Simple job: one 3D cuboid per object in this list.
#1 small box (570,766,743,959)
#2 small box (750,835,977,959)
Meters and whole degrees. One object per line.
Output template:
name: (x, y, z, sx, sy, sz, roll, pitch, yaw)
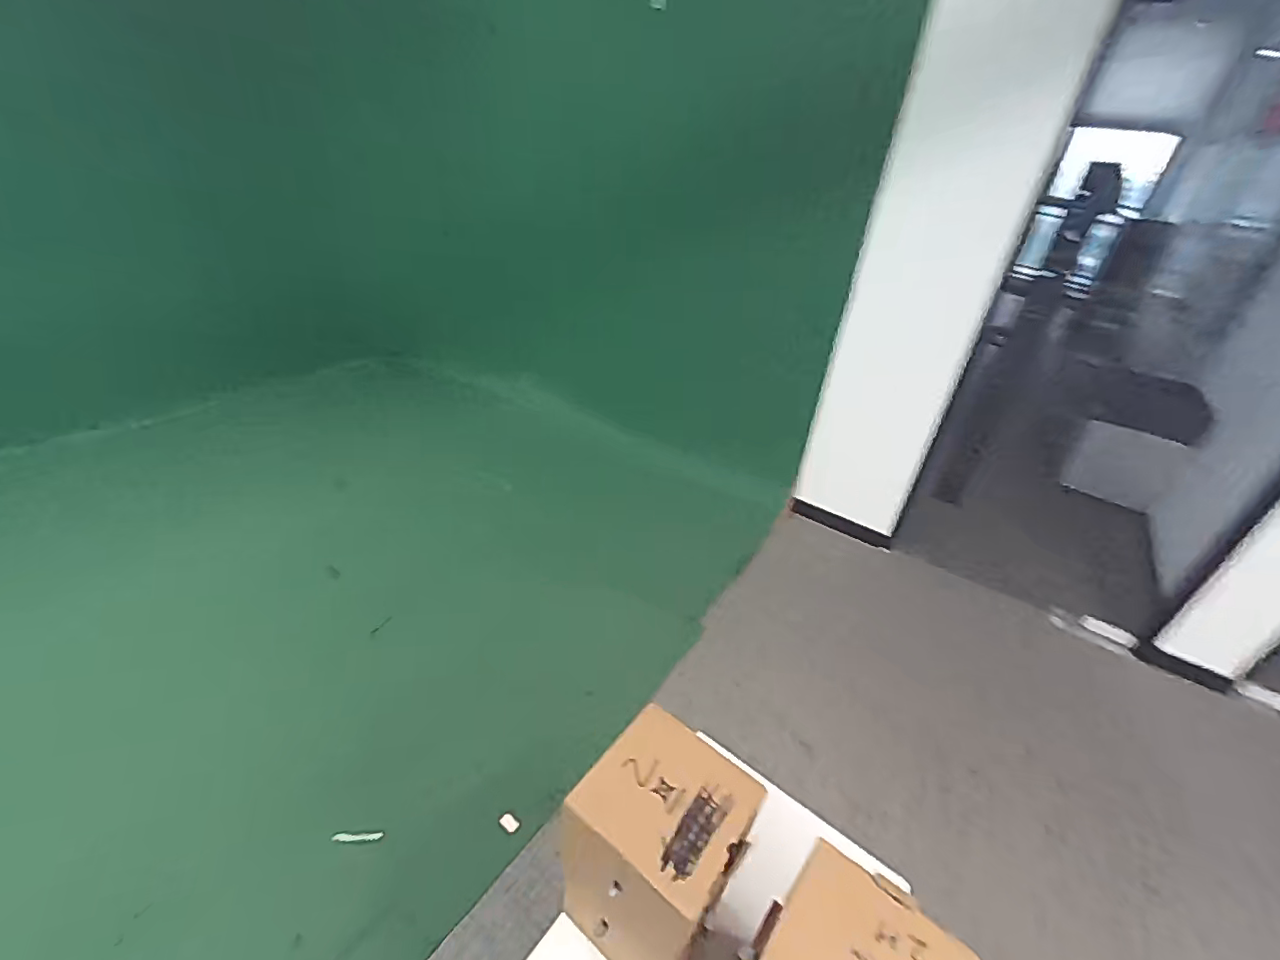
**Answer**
small box: (0.016, 0.556, 0.755, 0.179, 0.176, 0.168, 28, 40, 27)
small box: (0.200, 0.520, 0.540, 0.168, 0.176, 0.179, 28, 40, 29)
